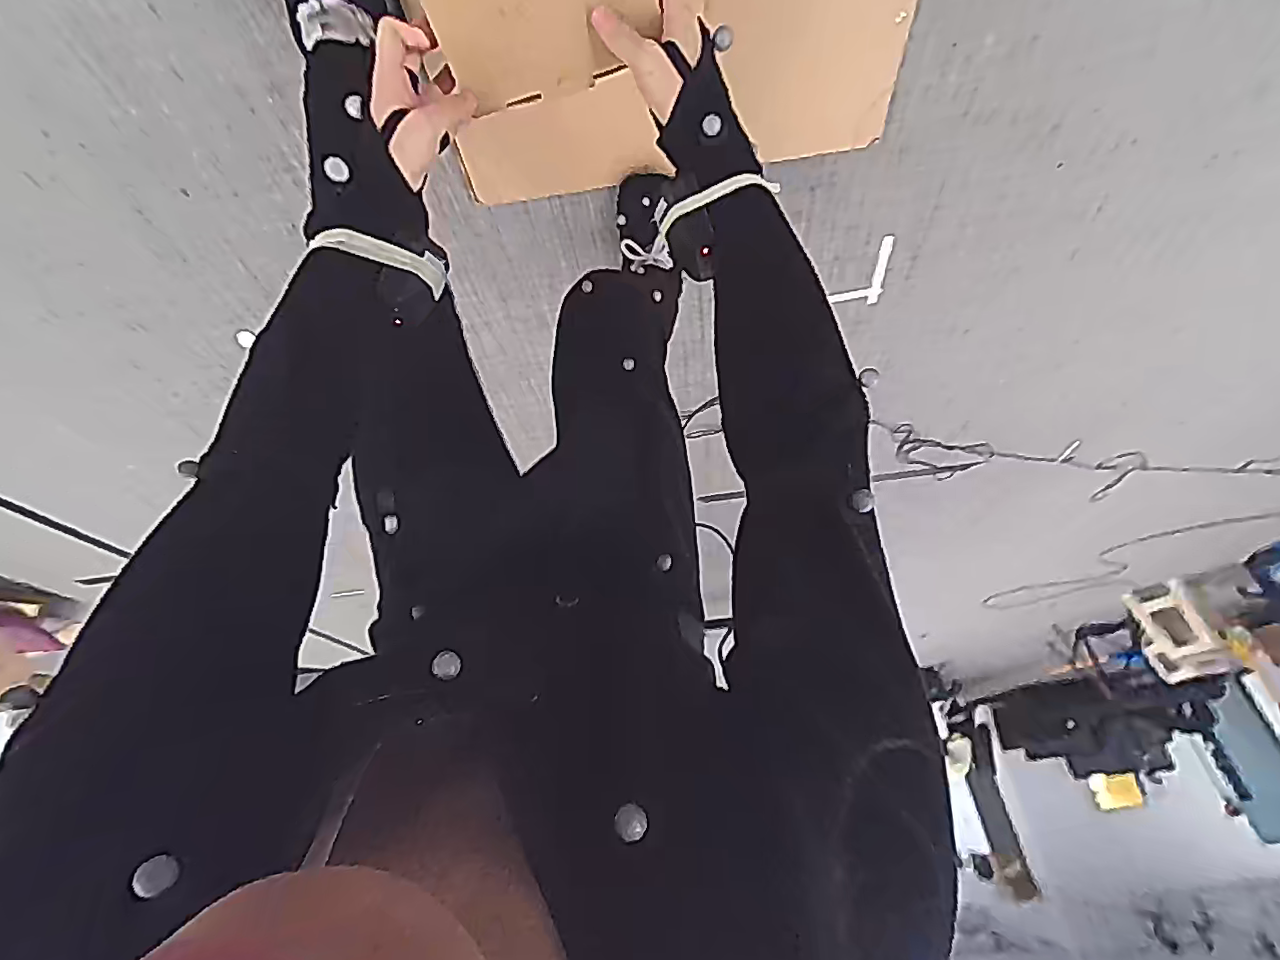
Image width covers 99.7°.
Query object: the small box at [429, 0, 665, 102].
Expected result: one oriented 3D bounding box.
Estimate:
[{"bbox_3d":[-0.086,-0.435,0.406,0.168,0.176,0.179,-14,144,6],"label":"small box"}]
